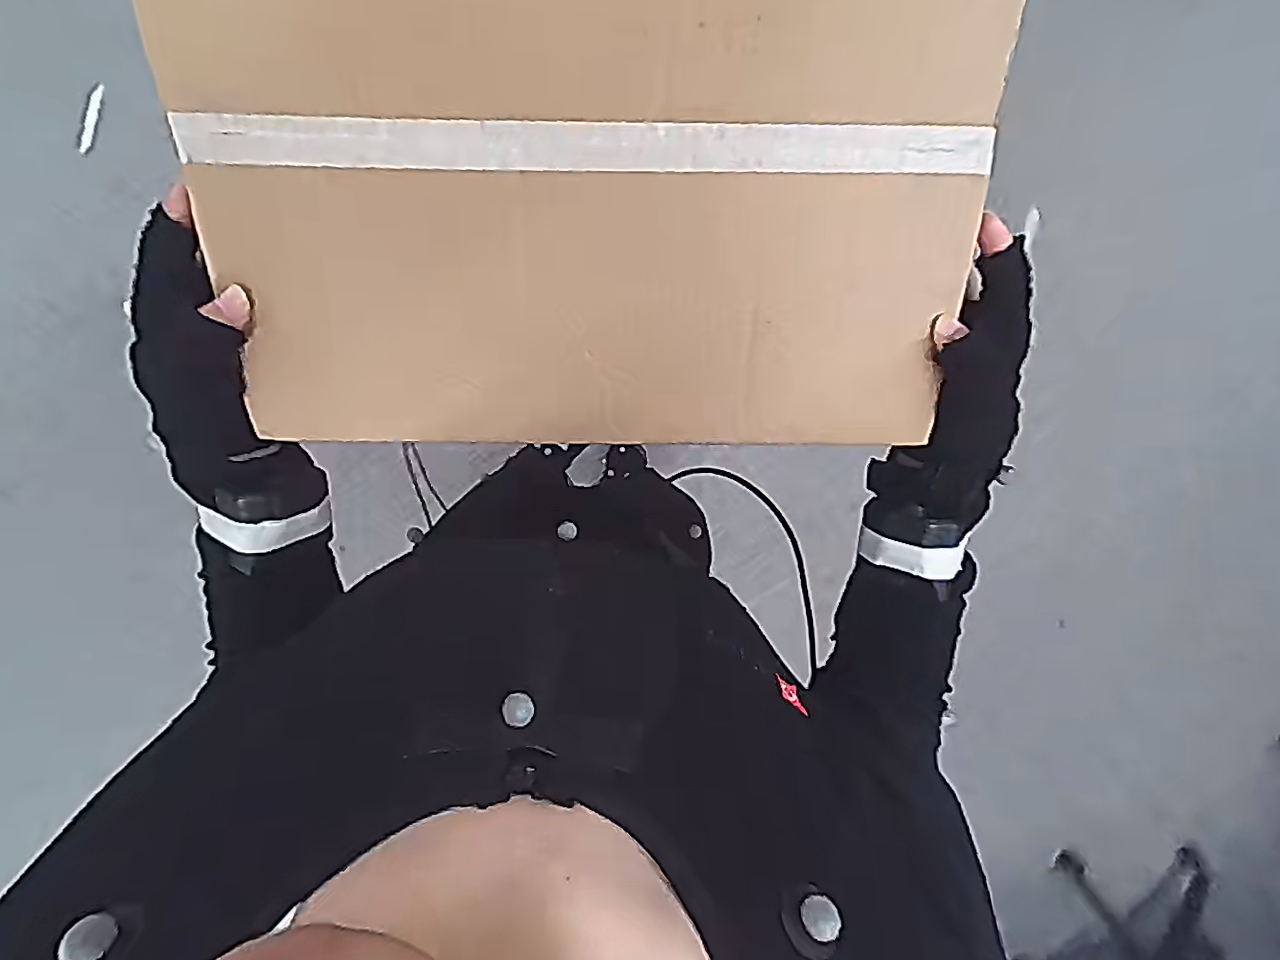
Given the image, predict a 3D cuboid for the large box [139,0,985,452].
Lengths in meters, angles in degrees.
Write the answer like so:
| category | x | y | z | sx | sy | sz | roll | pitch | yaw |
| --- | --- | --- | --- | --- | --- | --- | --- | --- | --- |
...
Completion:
| category | x | y | z | sx | sy | sz | roll | pitch | yaw |
| --- | --- | --- | --- | --- | --- | --- | --- | --- | --- |
| large box | -0.034 | -0.223 | 0.417 | 0.408 | 0.320 | 0.320 | -1 | 112 | -1 |
